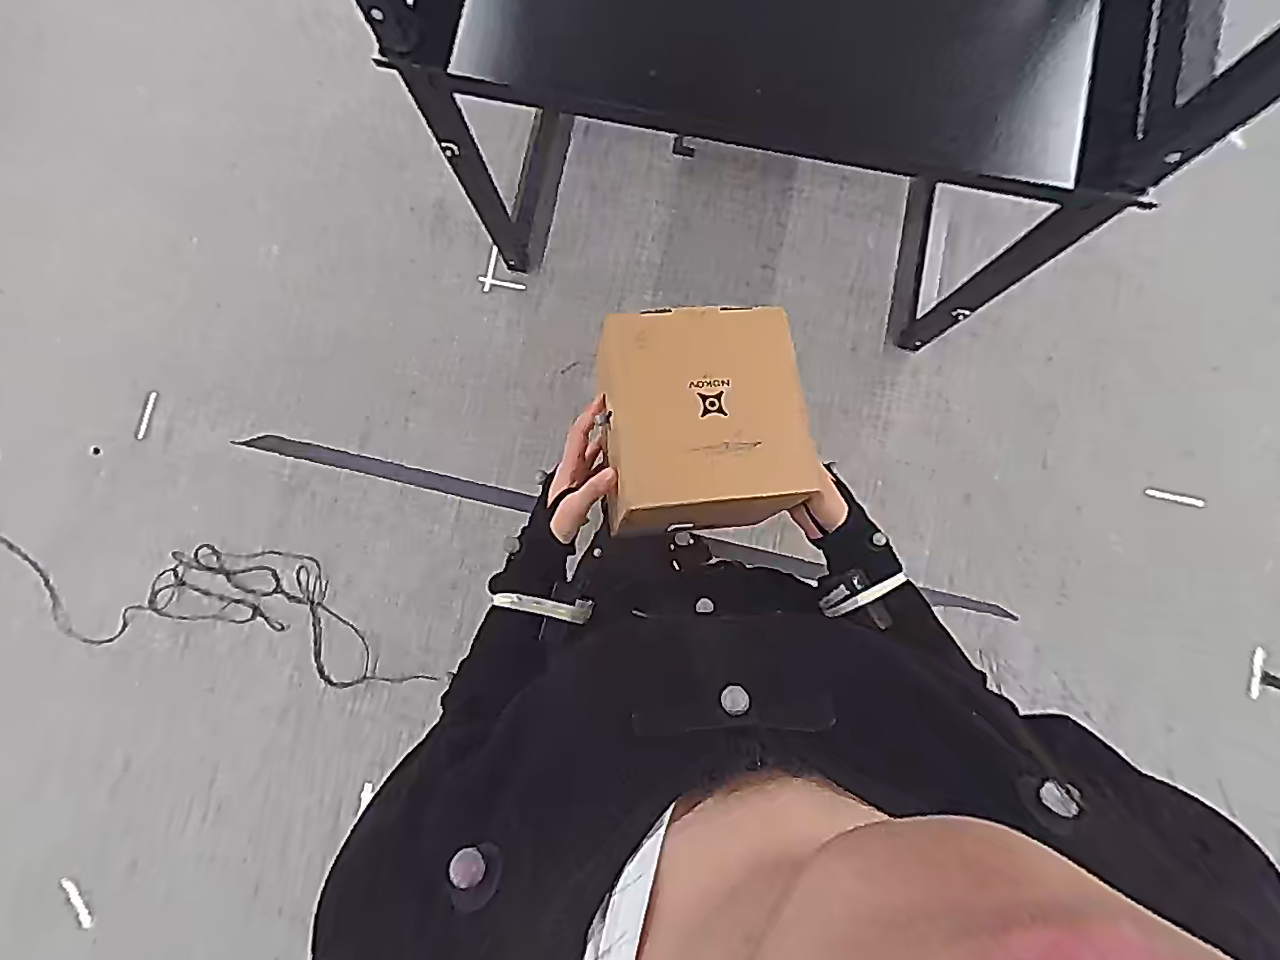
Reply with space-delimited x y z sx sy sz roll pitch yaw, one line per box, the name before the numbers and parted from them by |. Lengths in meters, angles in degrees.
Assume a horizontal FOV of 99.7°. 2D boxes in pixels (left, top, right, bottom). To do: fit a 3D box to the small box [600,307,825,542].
small box | 0.053 -0.045 0.533 0.168 0.176 0.179 -6 76 -8
